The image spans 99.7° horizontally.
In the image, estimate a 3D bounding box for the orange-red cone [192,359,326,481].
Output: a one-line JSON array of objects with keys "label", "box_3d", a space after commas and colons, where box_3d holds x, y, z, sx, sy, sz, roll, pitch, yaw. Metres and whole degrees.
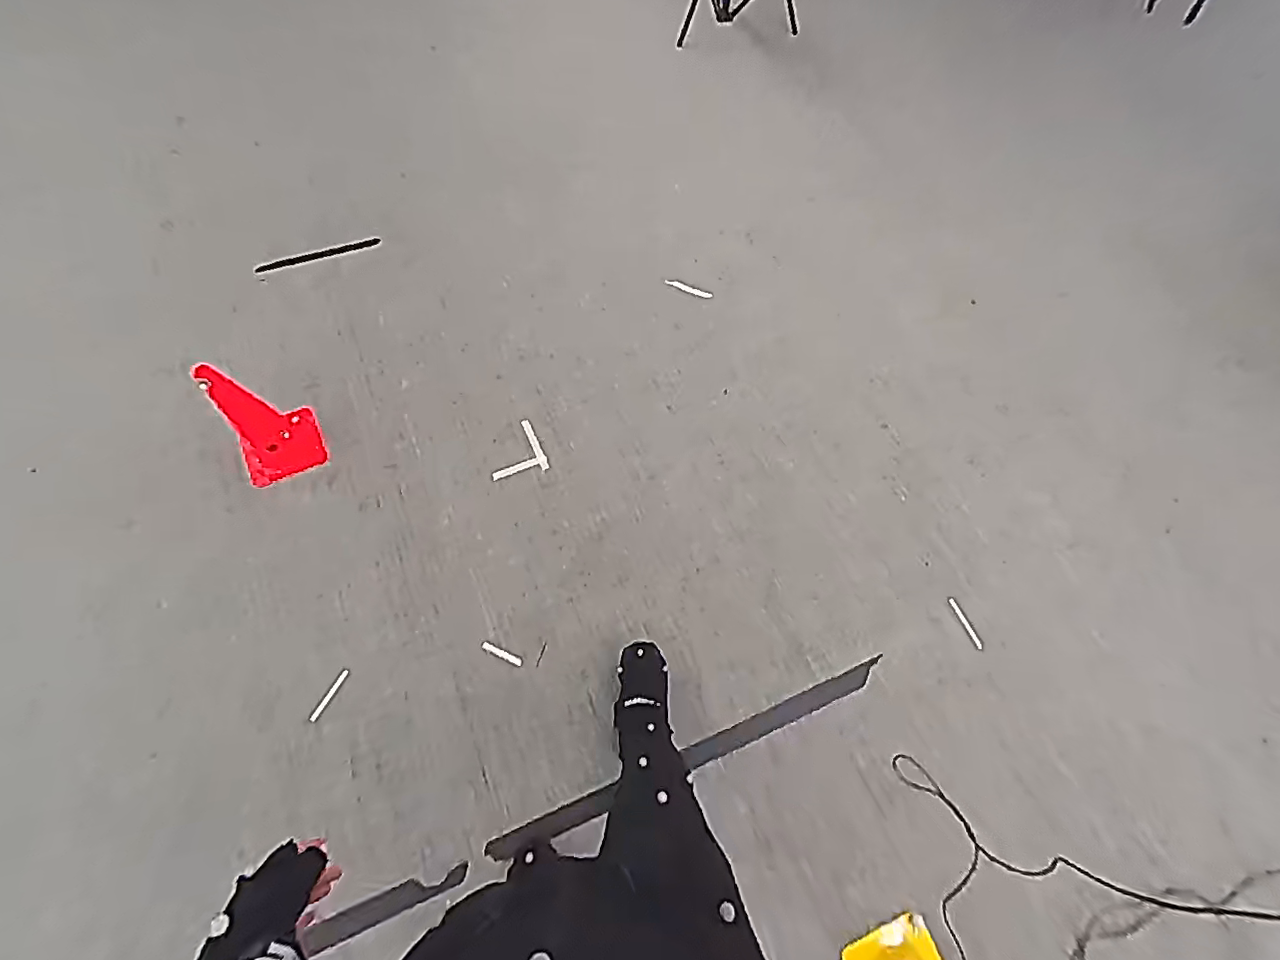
[{"label": "orange-red cone", "box_3d": [-0.973, -0.175, 1.338, 0.199, 0.360, 0.198, -24, 69, -14]}]
